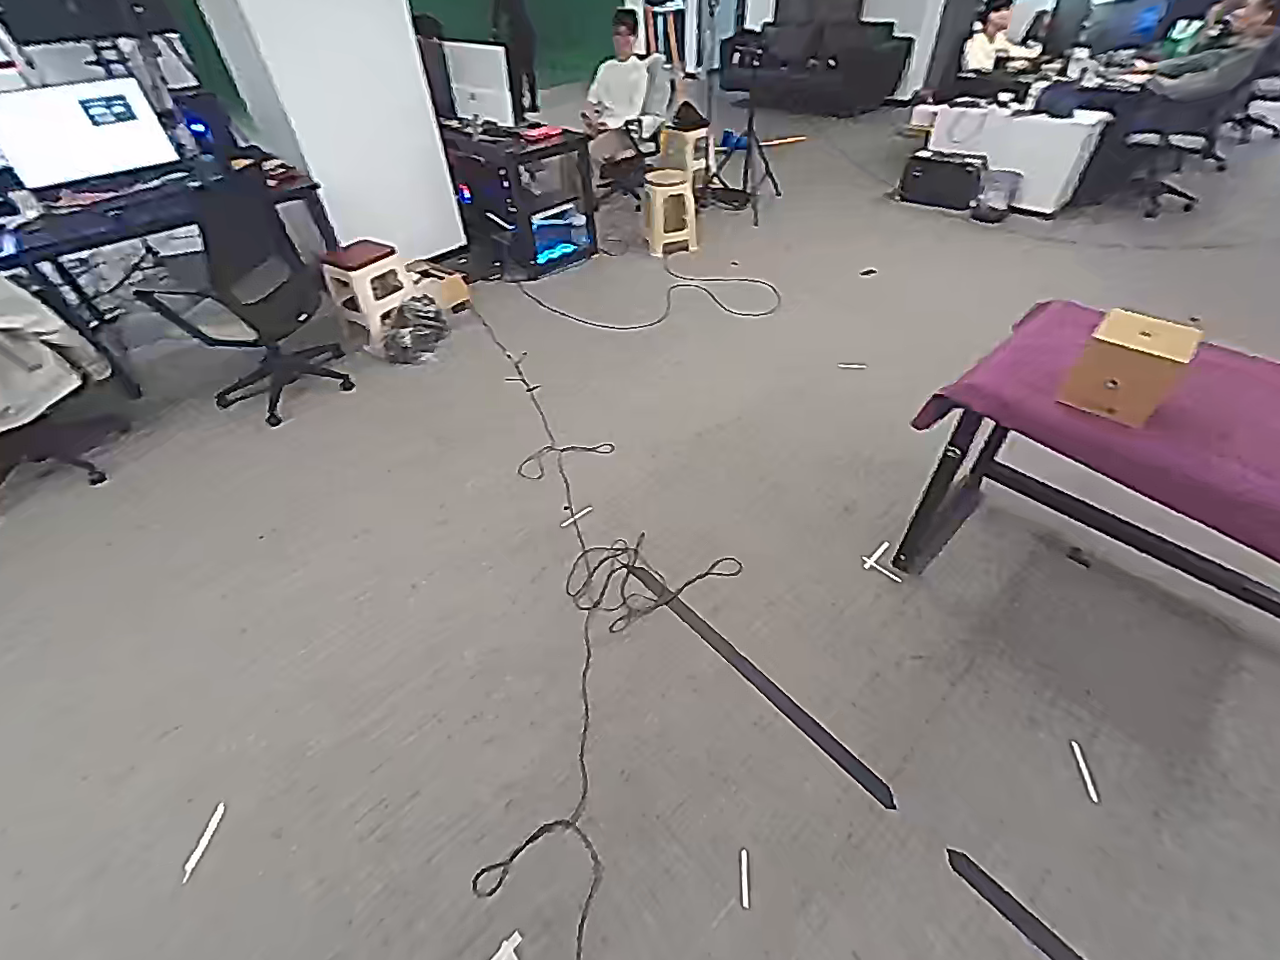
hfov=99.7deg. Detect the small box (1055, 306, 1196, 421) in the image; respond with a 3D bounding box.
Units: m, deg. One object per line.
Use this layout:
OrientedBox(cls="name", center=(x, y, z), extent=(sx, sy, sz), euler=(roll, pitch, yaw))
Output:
OrientedBox(cls="small box", center=(1.069, -0.258, 1.203), extent=(0.168, 0.176, 0.179), euler=(33, 53, 30))
